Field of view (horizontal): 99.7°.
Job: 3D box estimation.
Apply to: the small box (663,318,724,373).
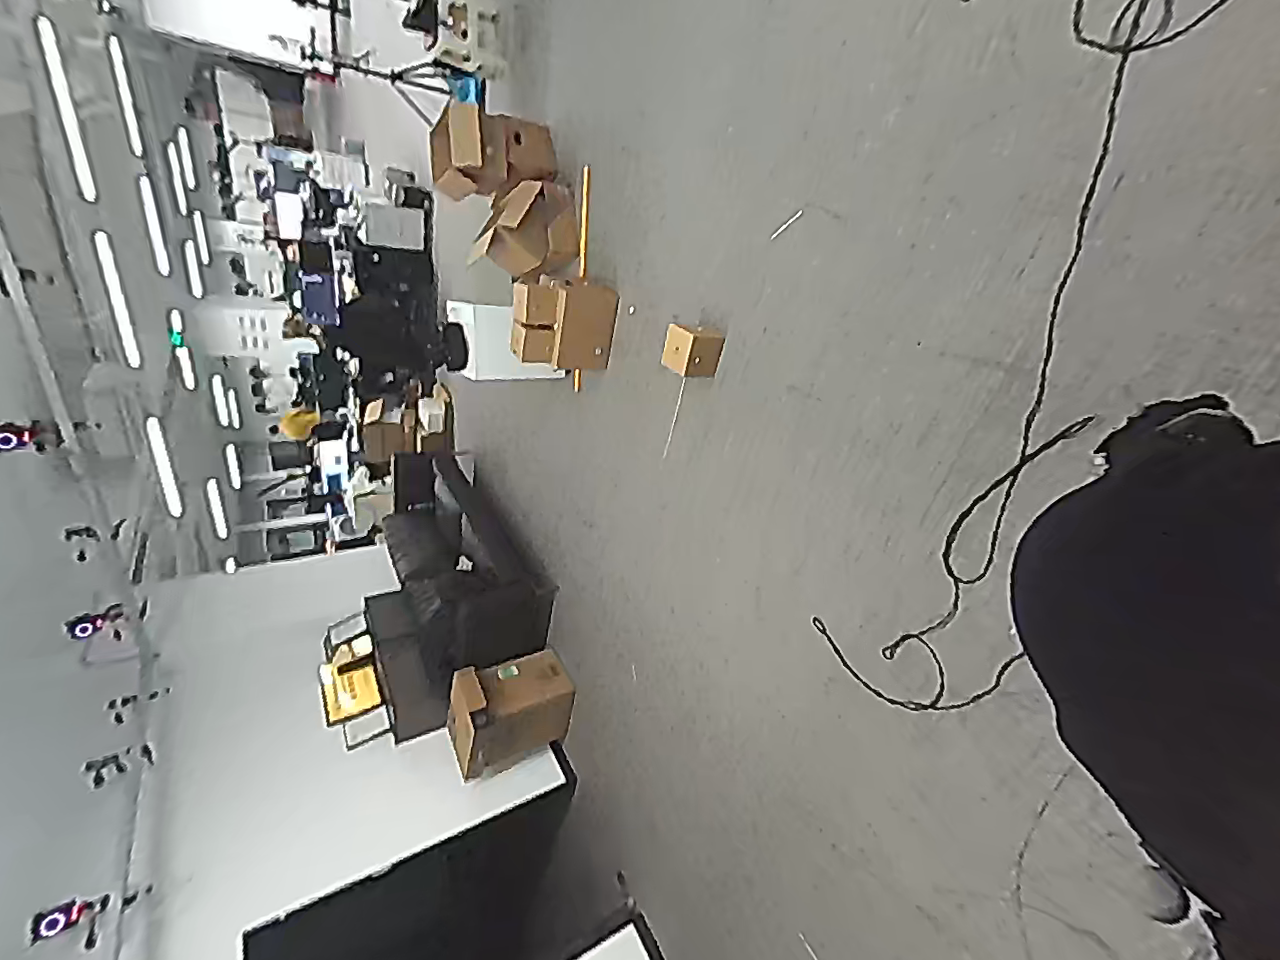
[{"bbox_3d":[0.221,-0.550,2.202,0.168,0.176,0.179,43,133,43],"label":"small box"}]
